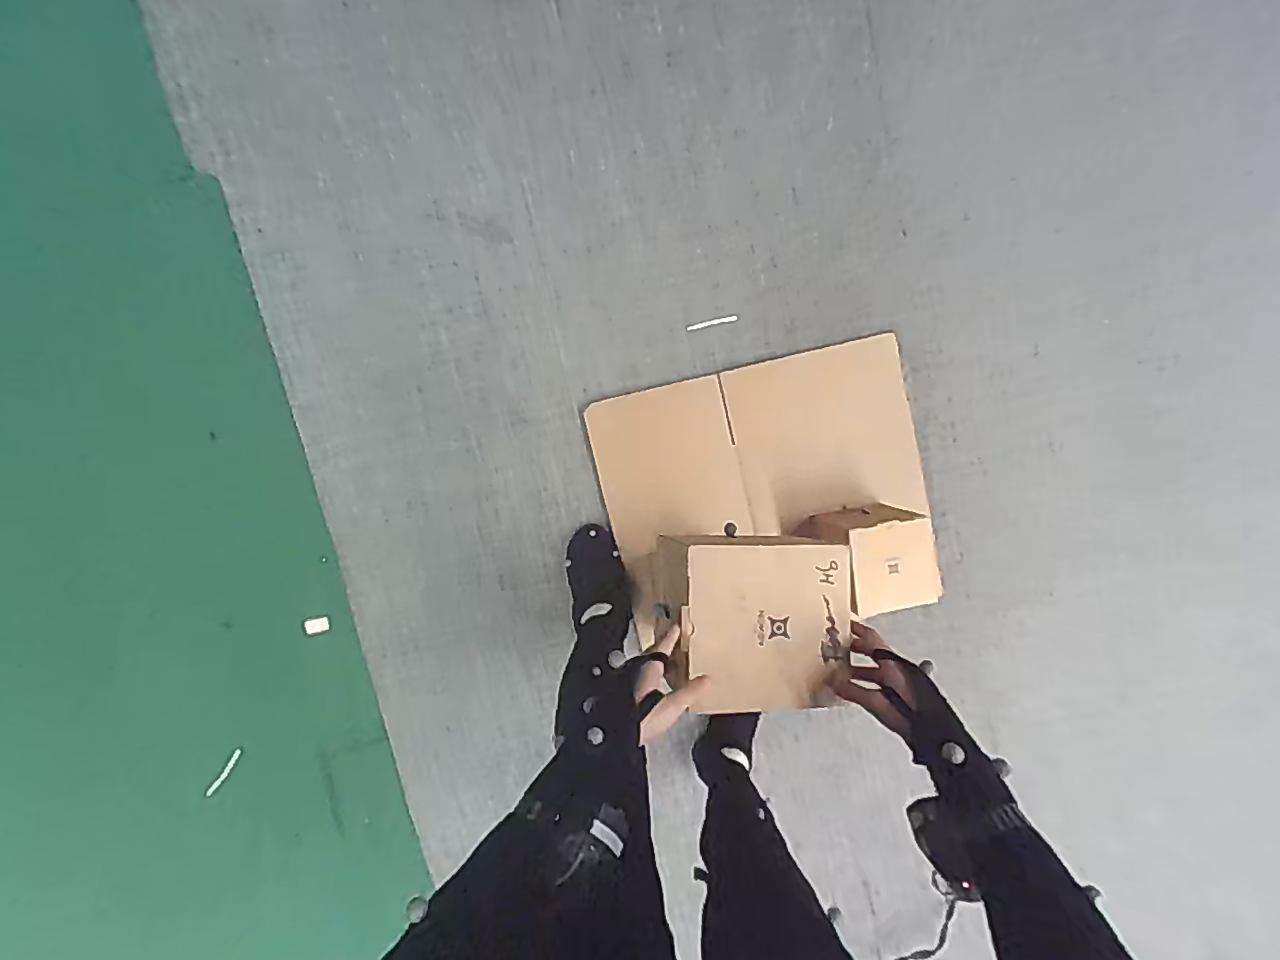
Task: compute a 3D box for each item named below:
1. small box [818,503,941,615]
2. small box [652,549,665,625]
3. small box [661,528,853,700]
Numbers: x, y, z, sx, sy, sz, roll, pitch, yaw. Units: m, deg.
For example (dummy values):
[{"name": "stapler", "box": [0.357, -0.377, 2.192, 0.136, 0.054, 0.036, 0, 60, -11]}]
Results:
[{"name": "small box", "box": [0.484, 0.155, 1.111, 0.168, 0.176, 0.179, -10, 96, -5]}, {"name": "small box", "box": [0.122, 0.236, 1.087, 0.168, 0.176, 0.179, -9, 96, -5]}, {"name": "small box", "box": [0.122, 0.142, 0.622, 0.179, 0.176, 0.168, 2, 87, -8]}]
